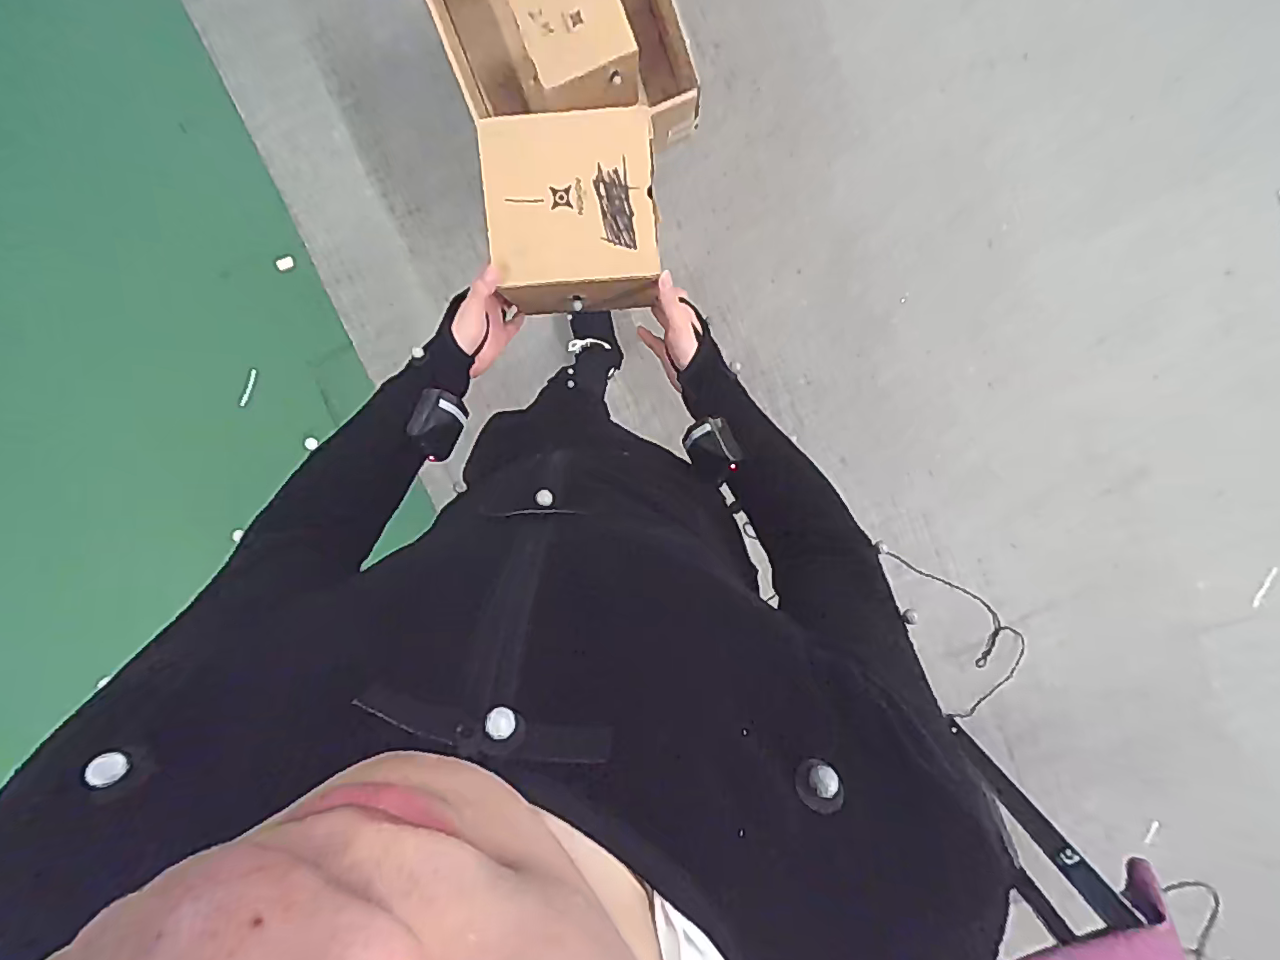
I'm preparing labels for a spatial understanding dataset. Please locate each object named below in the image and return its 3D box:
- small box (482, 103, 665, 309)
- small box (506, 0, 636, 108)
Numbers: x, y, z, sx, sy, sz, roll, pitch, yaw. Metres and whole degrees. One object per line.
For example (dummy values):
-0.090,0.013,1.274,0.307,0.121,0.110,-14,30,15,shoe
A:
-0.068,-0.300,0.626,0.179,0.176,0.168,-4,97,0,small box
-0.117,-0.773,0.969,0.179,0.176,0.168,-22,98,3,small box
